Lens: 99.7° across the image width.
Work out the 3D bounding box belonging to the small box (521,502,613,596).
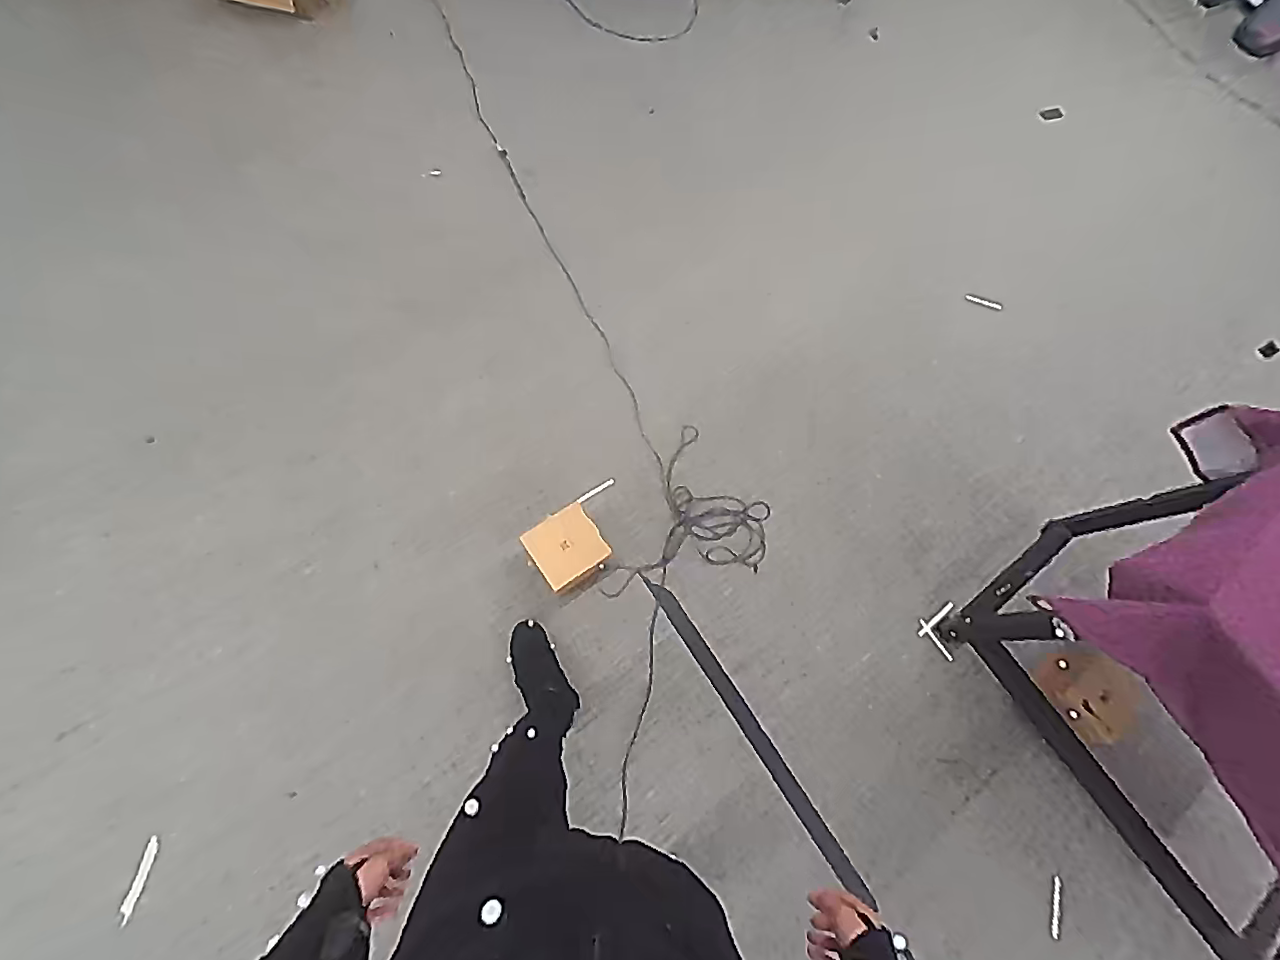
[{"bbox_3d":[-0.188,0.188,1.418,0.179,0.176,0.168,-33,80,-16],"label":"small box"}]
